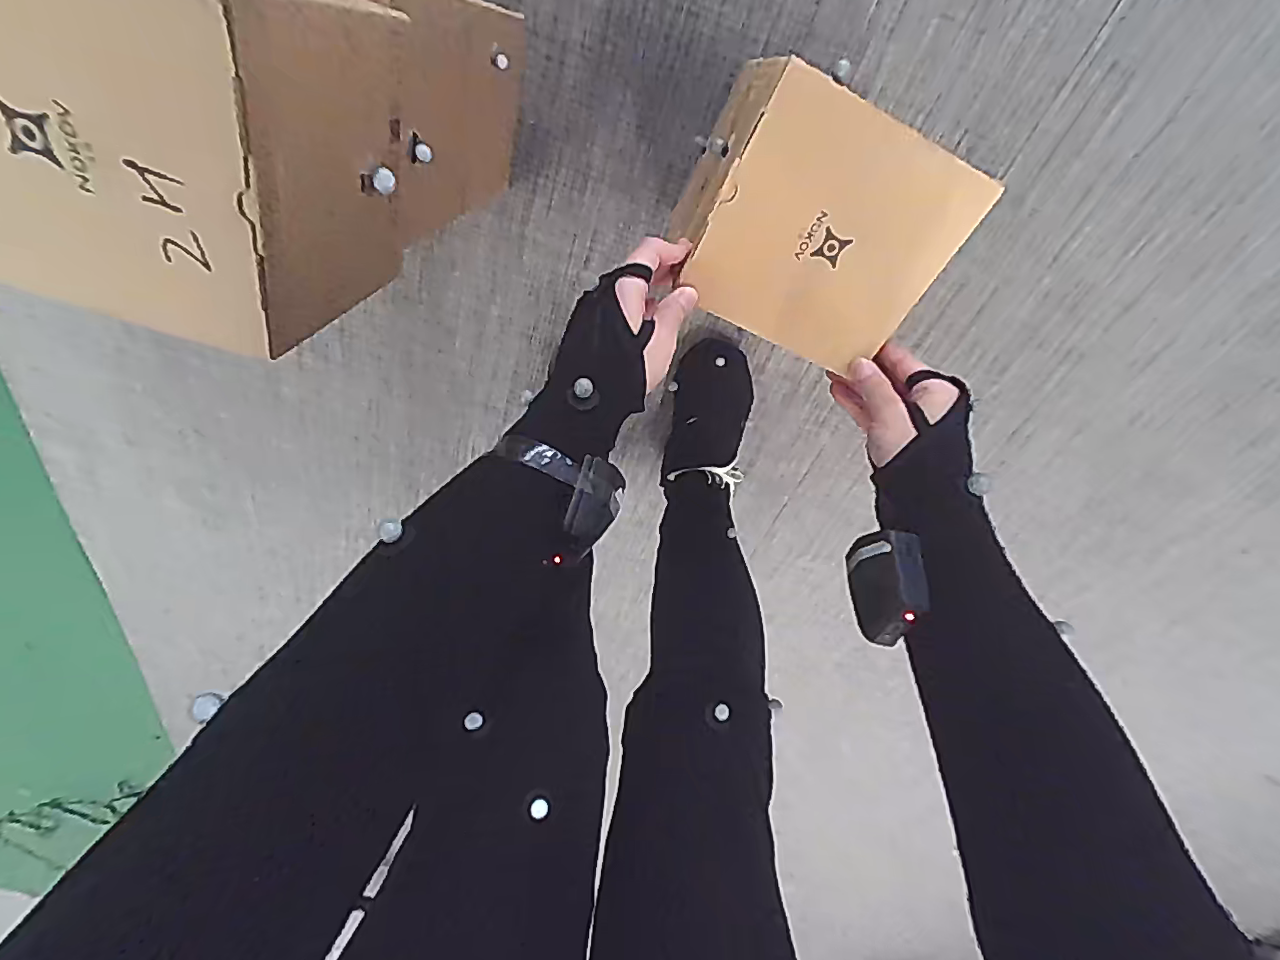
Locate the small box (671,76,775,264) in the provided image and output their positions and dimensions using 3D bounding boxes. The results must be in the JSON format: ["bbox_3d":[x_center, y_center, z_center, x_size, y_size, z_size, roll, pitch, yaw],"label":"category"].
[{"bbox_3d":[0.149,-0.312,0.604,0.168,0.176,0.179,23,126,-12],"label":"small box"}]

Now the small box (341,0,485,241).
[{"bbox_3d":[-0.237,-0.307,0.441,0.168,0.176,0.179,15,125,-7],"label":"small box"}]

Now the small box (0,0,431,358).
[{"bbox_3d":[-0.246,-0.200,0.315,0.179,0.176,0.168,16,126,-7],"label":"small box"}]

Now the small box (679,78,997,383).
[{"bbox_3d":[0.149,-0.220,0.471,0.179,0.176,0.168,22,125,-10],"label":"small box"}]
